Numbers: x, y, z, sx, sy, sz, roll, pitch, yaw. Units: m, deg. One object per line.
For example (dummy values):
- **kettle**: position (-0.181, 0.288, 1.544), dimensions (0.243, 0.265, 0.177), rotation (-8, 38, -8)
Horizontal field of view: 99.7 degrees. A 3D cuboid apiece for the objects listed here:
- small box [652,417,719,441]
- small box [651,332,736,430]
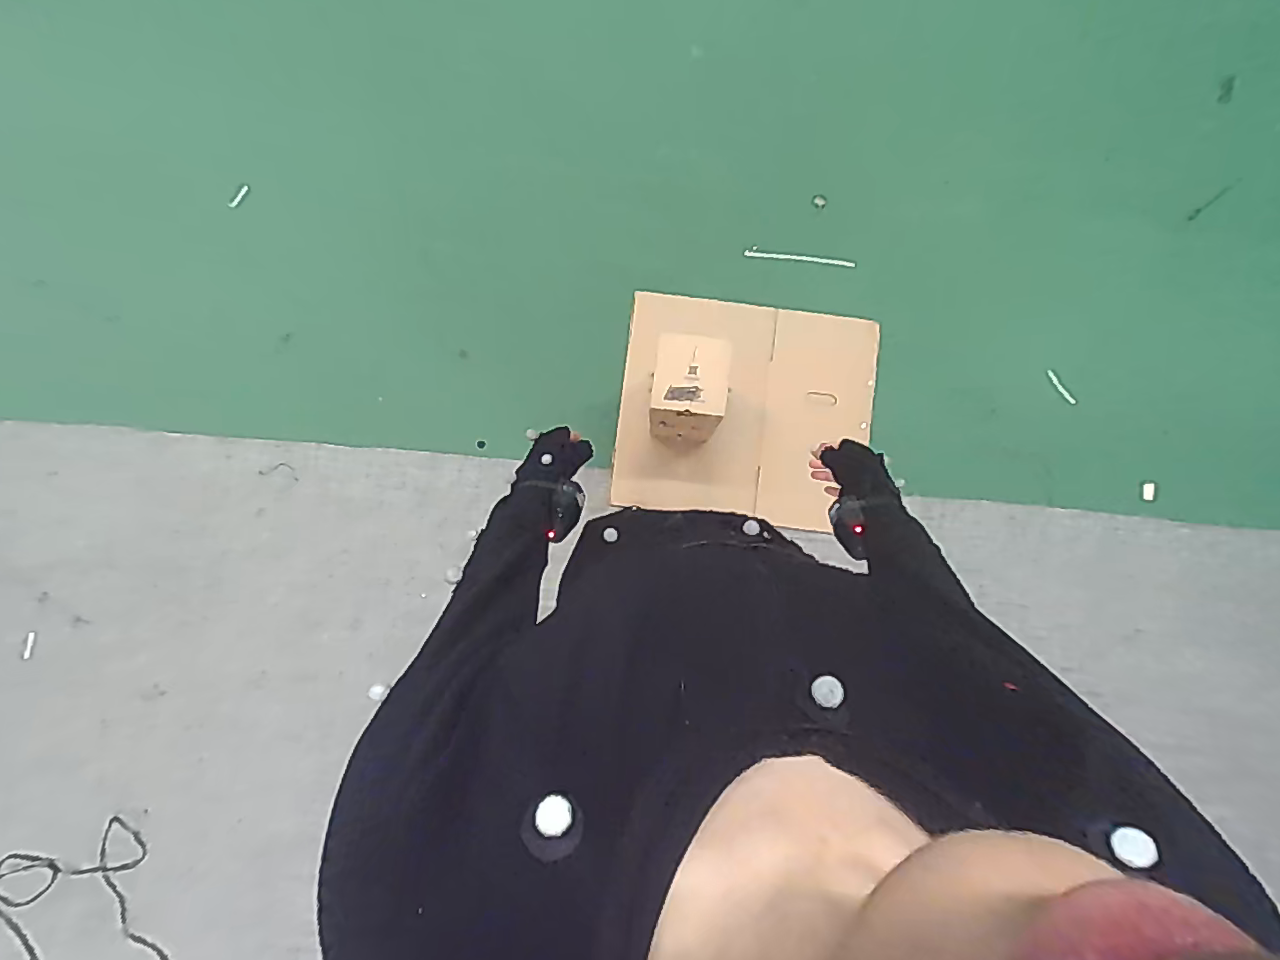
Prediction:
- **small box**: position (0.121, -0.206, 1.409), dimensions (0.168, 0.176, 0.179), rotation (6, 86, 2)
- **small box**: position (0.118, -0.220, 1.245), dimensions (0.168, 0.176, 0.179), rotation (8, 85, 1)
